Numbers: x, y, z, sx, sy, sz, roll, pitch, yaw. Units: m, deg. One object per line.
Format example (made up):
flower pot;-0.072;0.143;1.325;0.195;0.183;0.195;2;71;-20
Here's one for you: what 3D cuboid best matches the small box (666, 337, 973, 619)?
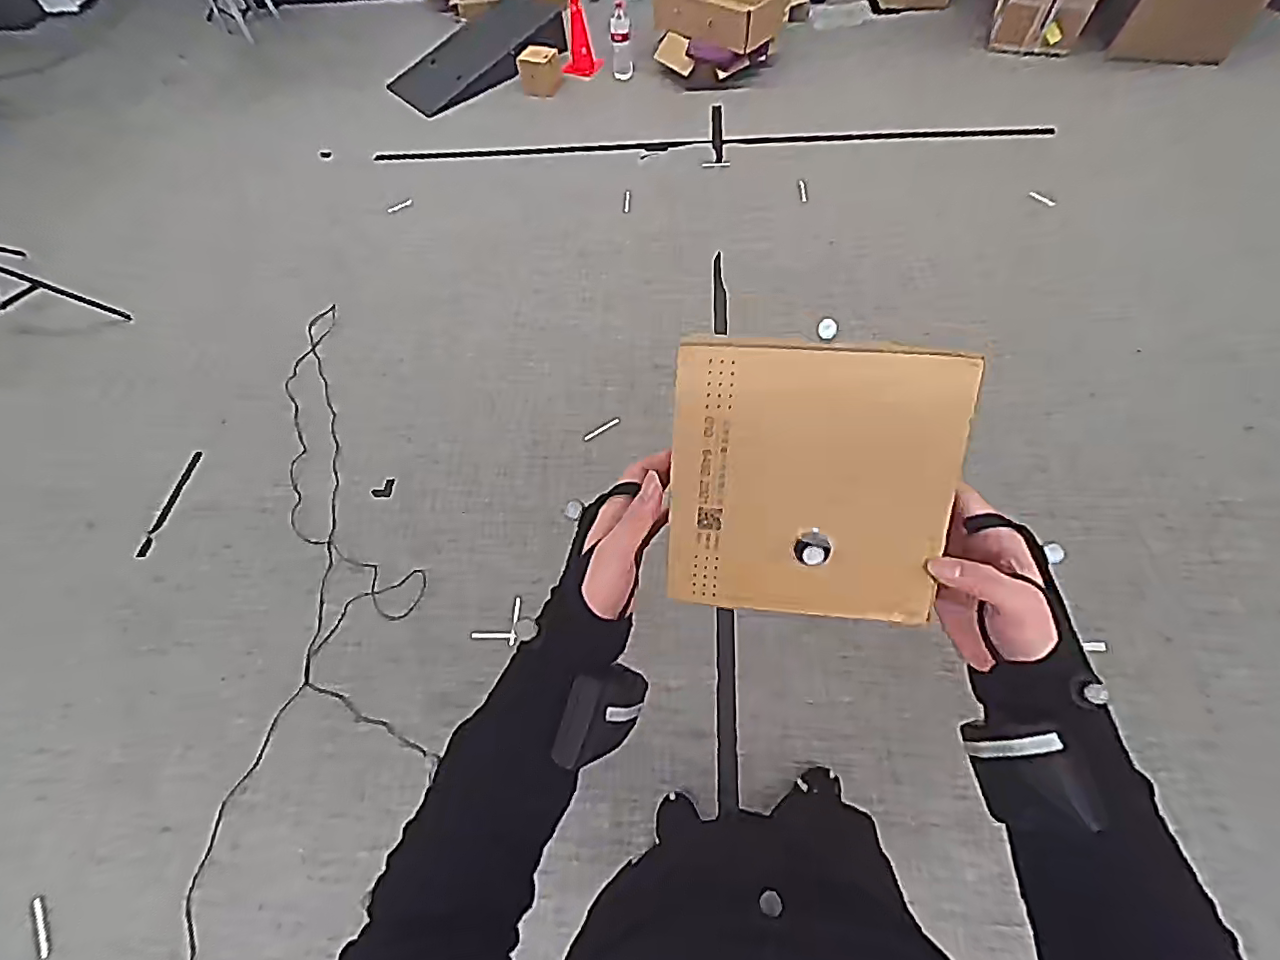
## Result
small box;0.111;-0.017;0.409;0.176;0.168;0.179;5;19;6
